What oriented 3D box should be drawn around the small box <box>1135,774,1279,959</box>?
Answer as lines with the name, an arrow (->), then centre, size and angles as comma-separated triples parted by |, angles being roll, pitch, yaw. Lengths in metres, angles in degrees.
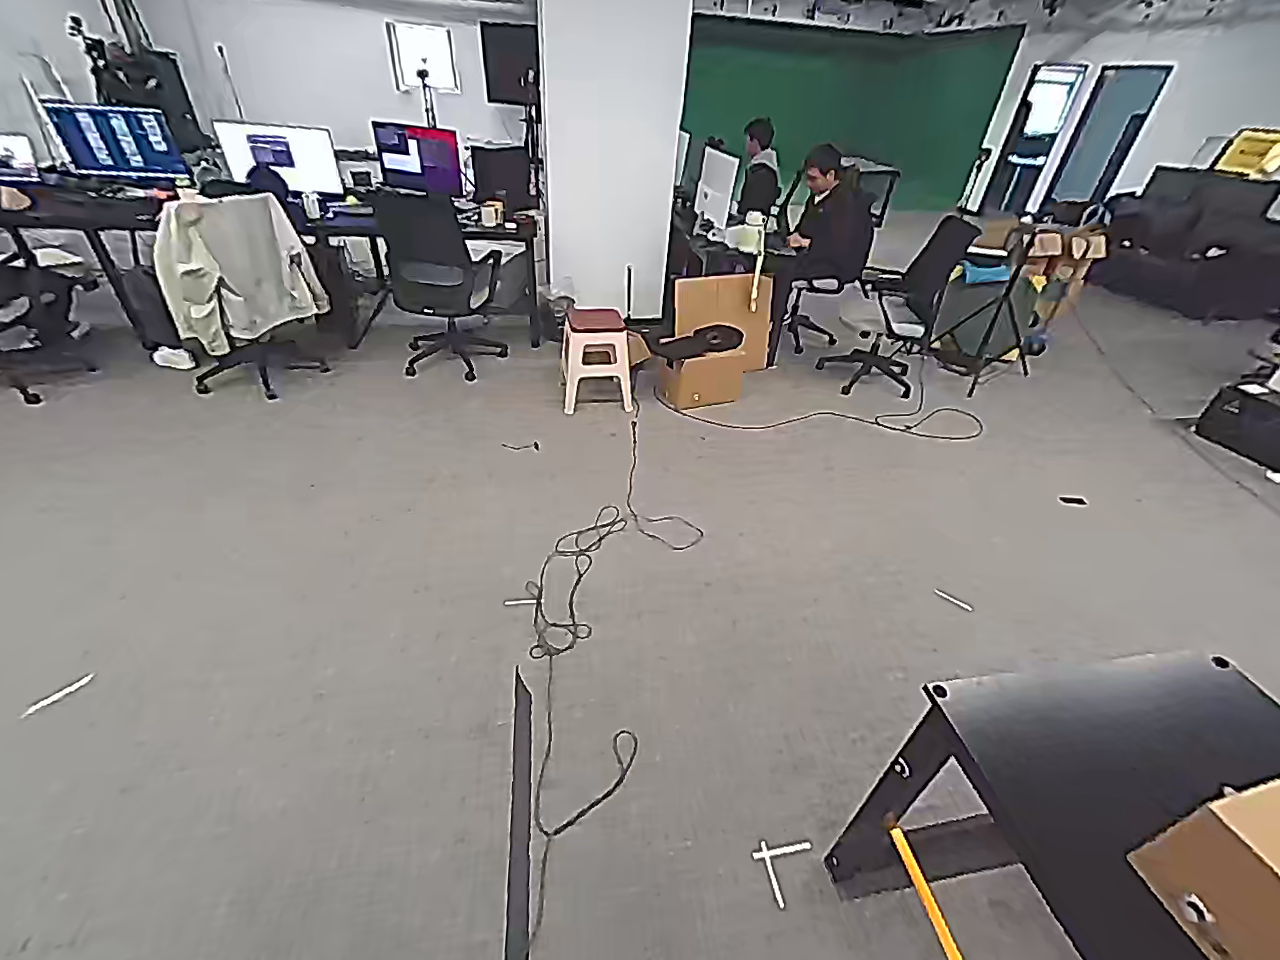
small box -> 0.754, 0.475, 0.633 | 0.179, 0.176, 0.168 | -7, 37, -14
